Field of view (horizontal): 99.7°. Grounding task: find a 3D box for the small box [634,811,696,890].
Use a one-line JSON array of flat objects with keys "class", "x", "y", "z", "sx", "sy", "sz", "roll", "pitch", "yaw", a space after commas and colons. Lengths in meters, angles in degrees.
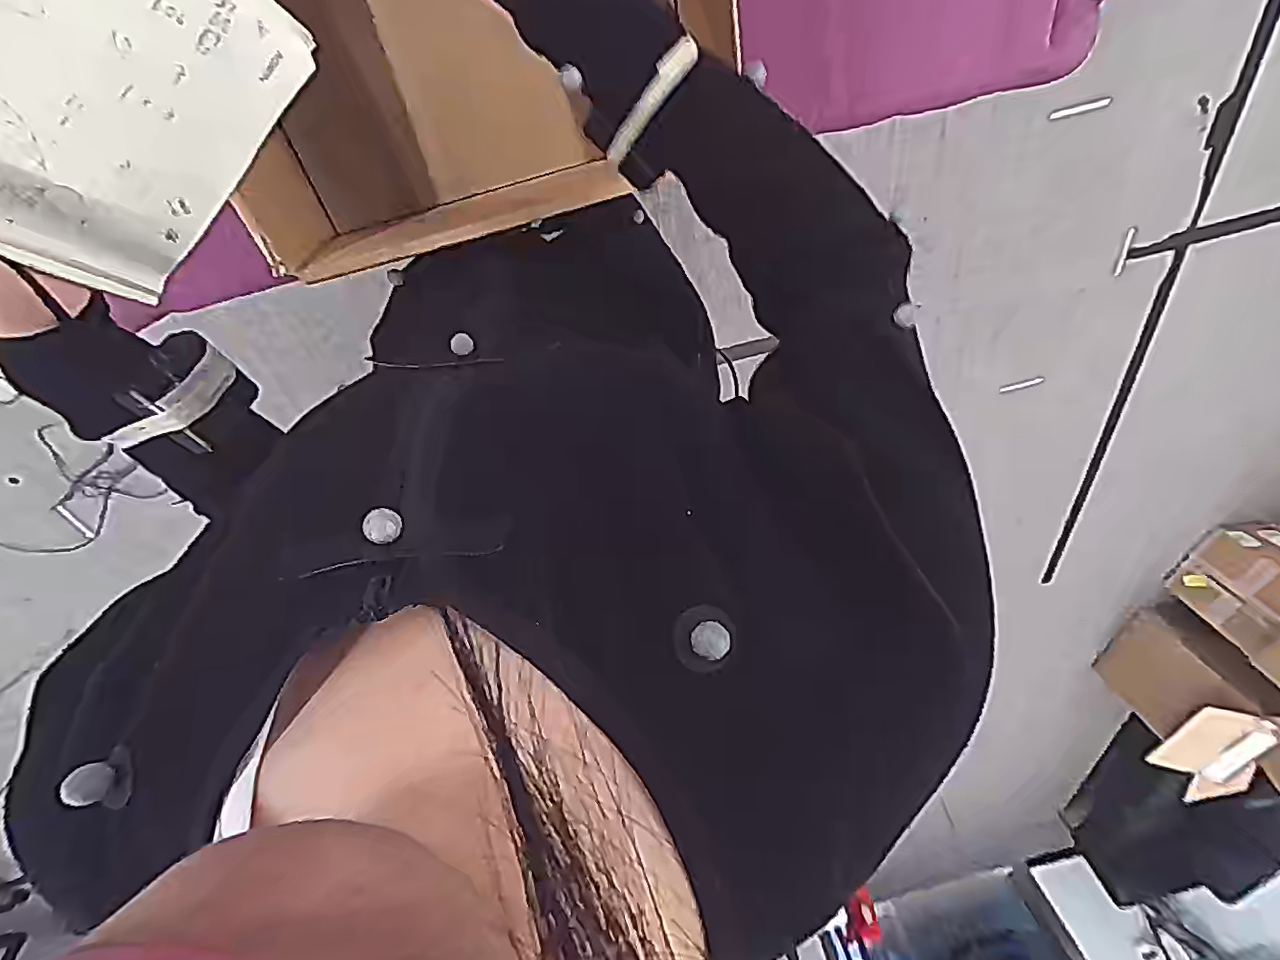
[{"class": "small box", "x": 0.086, "y": 1.273, "z": 1.862, "sx": 0.168, "sy": 0.176, "sz": 0.179, "roll": -16, "pitch": 128, "yaw": 0}]
